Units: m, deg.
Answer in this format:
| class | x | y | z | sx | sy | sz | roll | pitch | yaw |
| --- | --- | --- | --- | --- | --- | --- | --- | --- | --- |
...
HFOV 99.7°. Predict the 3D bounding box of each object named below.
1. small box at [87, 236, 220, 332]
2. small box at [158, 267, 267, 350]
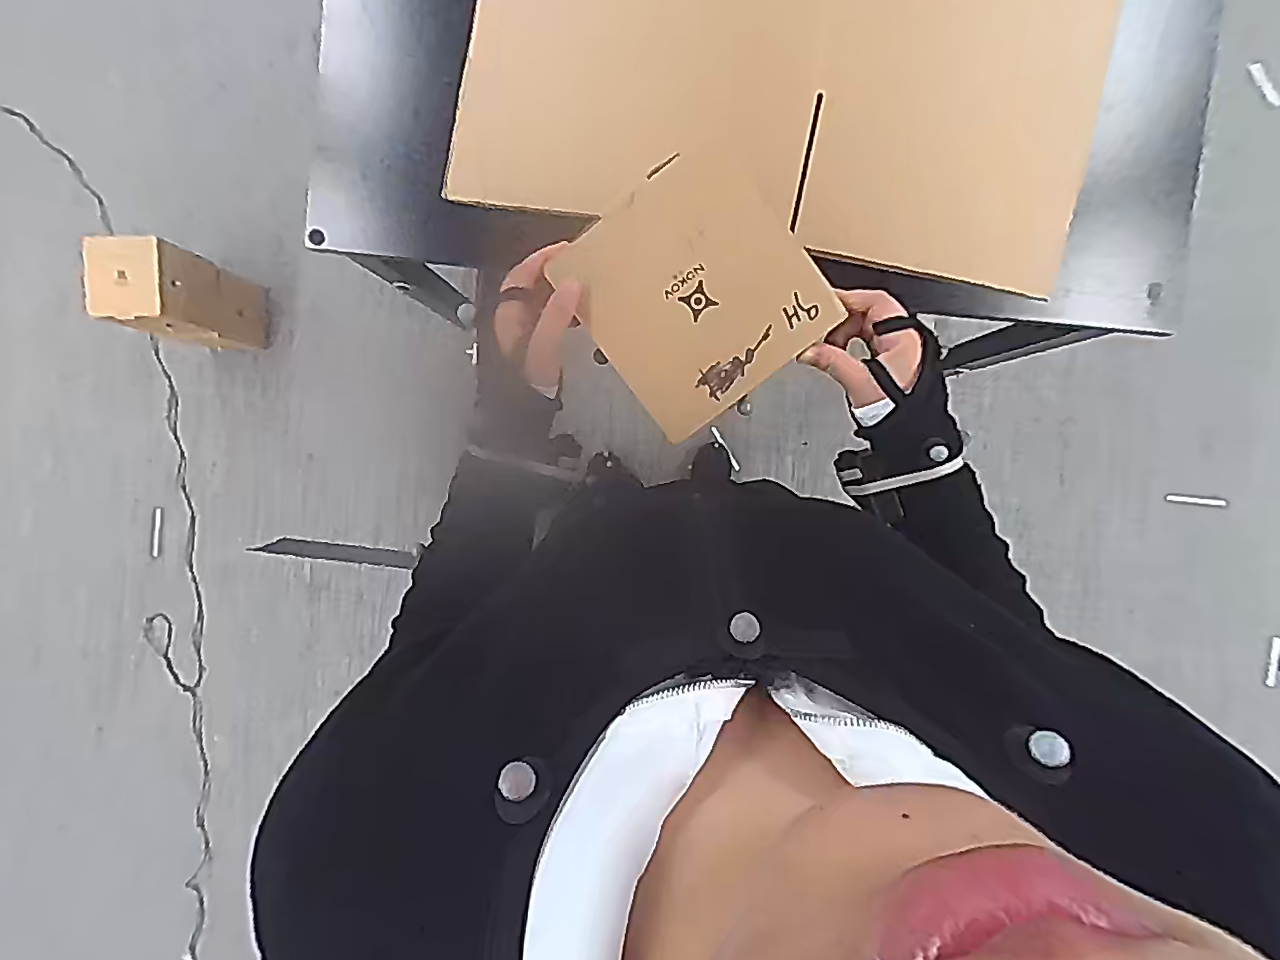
| class | x | y | z | sx | sy | sz | roll | pitch | yaw |
| --- | --- | --- | --- | --- | --- | --- | --- | --- | --- |
| small box | -1.125 | -0.448 | 1.263 | 0.168 | 0.176 | 0.179 | -1 | 92 | 1 |
| small box | -1.120 | -0.449 | 1.426 | 0.168 | 0.176 | 0.179 | 2 | 94 | 2 |
